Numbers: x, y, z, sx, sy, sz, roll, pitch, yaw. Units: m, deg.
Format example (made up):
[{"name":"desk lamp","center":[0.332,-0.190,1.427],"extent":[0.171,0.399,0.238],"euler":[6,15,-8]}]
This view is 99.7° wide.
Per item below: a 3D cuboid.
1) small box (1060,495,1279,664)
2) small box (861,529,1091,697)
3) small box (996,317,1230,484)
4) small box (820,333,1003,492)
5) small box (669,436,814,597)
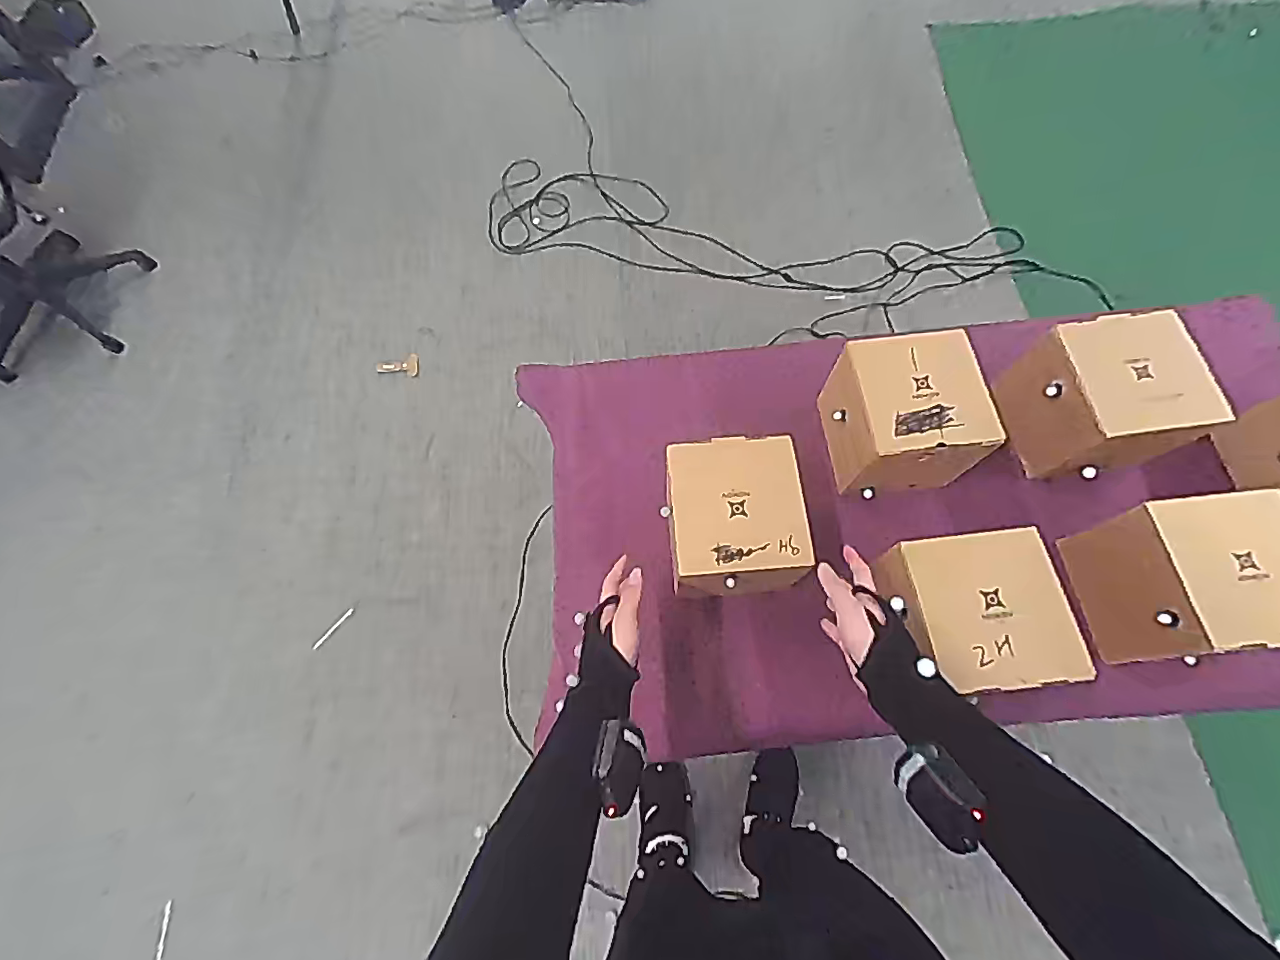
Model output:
[{"name":"small box","center":[0.696,0.134,0.695],"extent":[0.168,0.176,0.179],"euler":[-6,68,0]},{"name":"small box","center":[0.403,0.176,0.689],"extent":[0.168,0.176,0.179],"euler":[-6,68,1]},{"name":"small box","center":[0.665,-0.110,0.791],"extent":[0.168,0.176,0.179],"euler":[-6,70,1]},{"name":"small box","center":[0.380,-0.088,0.794],"extent":[0.168,0.176,0.179],"euler":[-5,68,0]},{"name":"small box","center":[0.126,0.057,0.747],"extent":[0.168,0.176,0.179],"euler":[-4,68,2]}]
